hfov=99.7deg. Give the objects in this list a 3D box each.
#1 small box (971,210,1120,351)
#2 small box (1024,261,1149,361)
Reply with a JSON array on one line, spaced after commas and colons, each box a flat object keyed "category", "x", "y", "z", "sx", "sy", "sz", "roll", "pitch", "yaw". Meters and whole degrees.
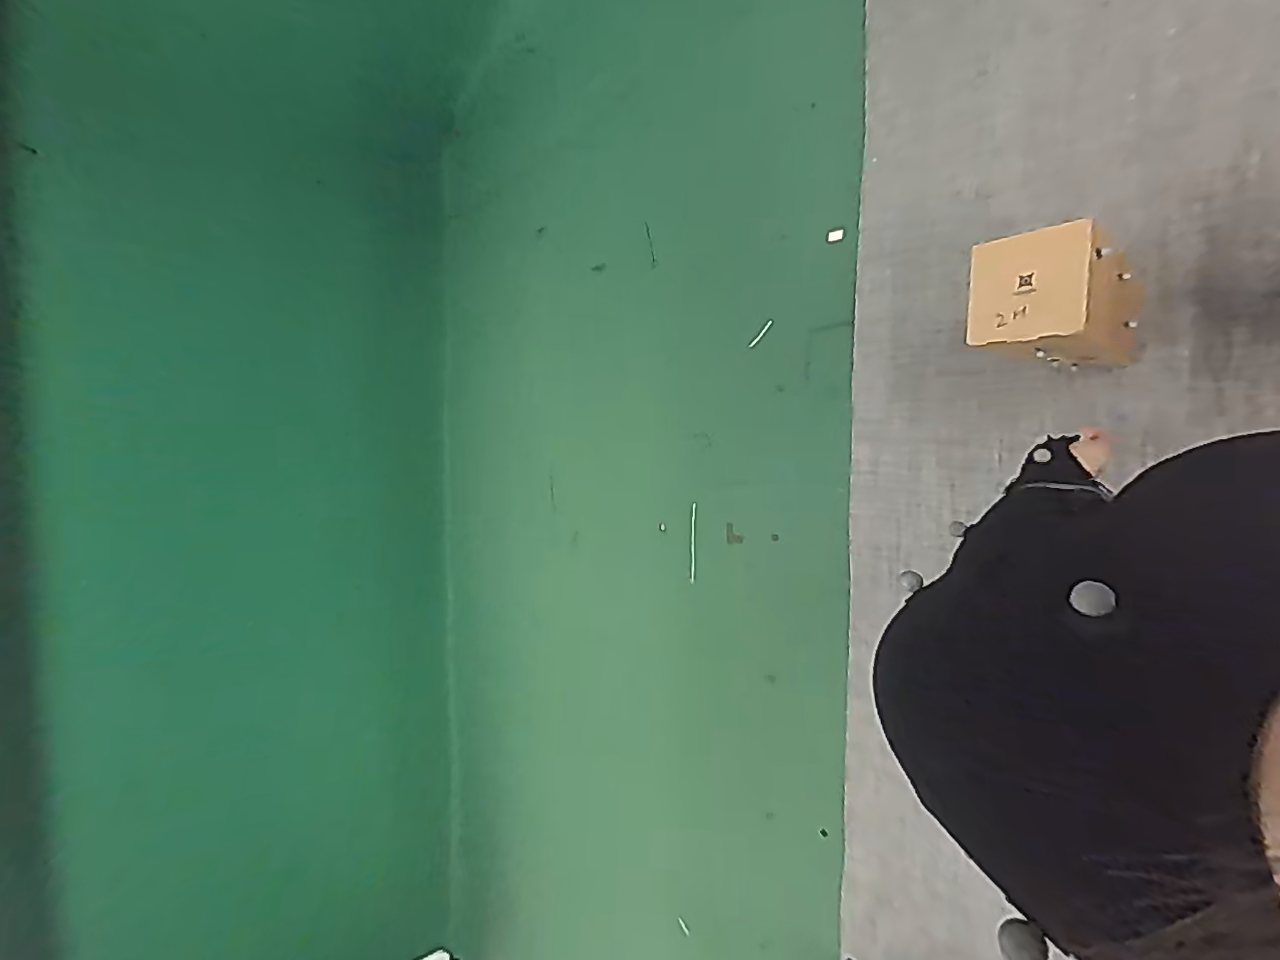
[{"category": "small box", "x": 0.694, "y": -0.327, "z": 0.924, "sx": 0.168, "sy": 0.176, "sz": 0.179, "roll": 6, "pitch": 97, "yaw": 51}, {"category": "small box", "x": 0.941, "y": -0.344, "z": 1.139, "sx": 0.168, "sy": 0.176, "sz": 0.179, "roll": 11, "pitch": 101, "yaw": 49}]
